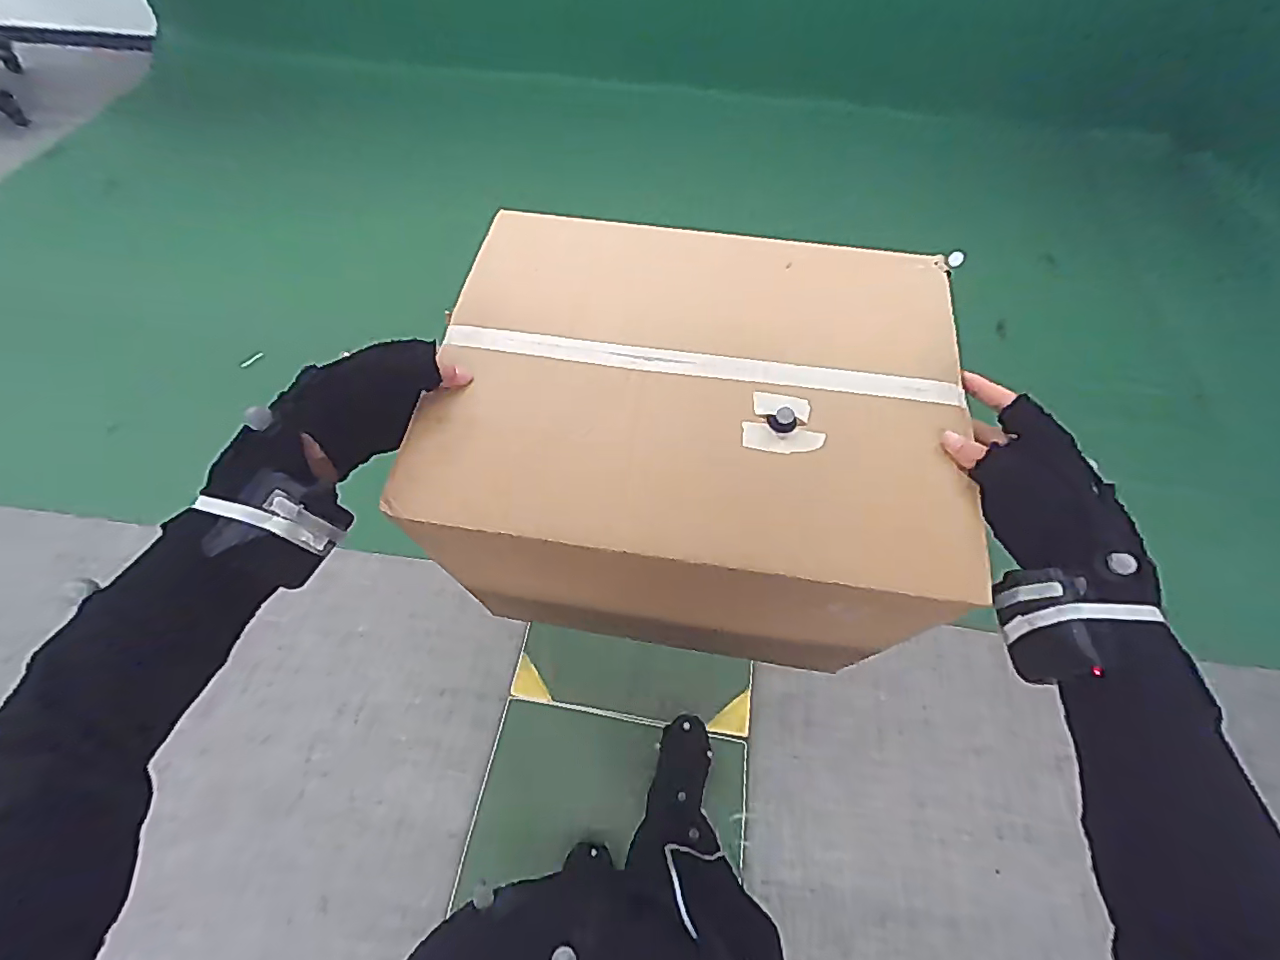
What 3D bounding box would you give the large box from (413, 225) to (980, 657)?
[{"bbox_3d":[0.050,-0.020,0.571,0.408,0.320,0.320,8,64,3],"label":"large box"}]
